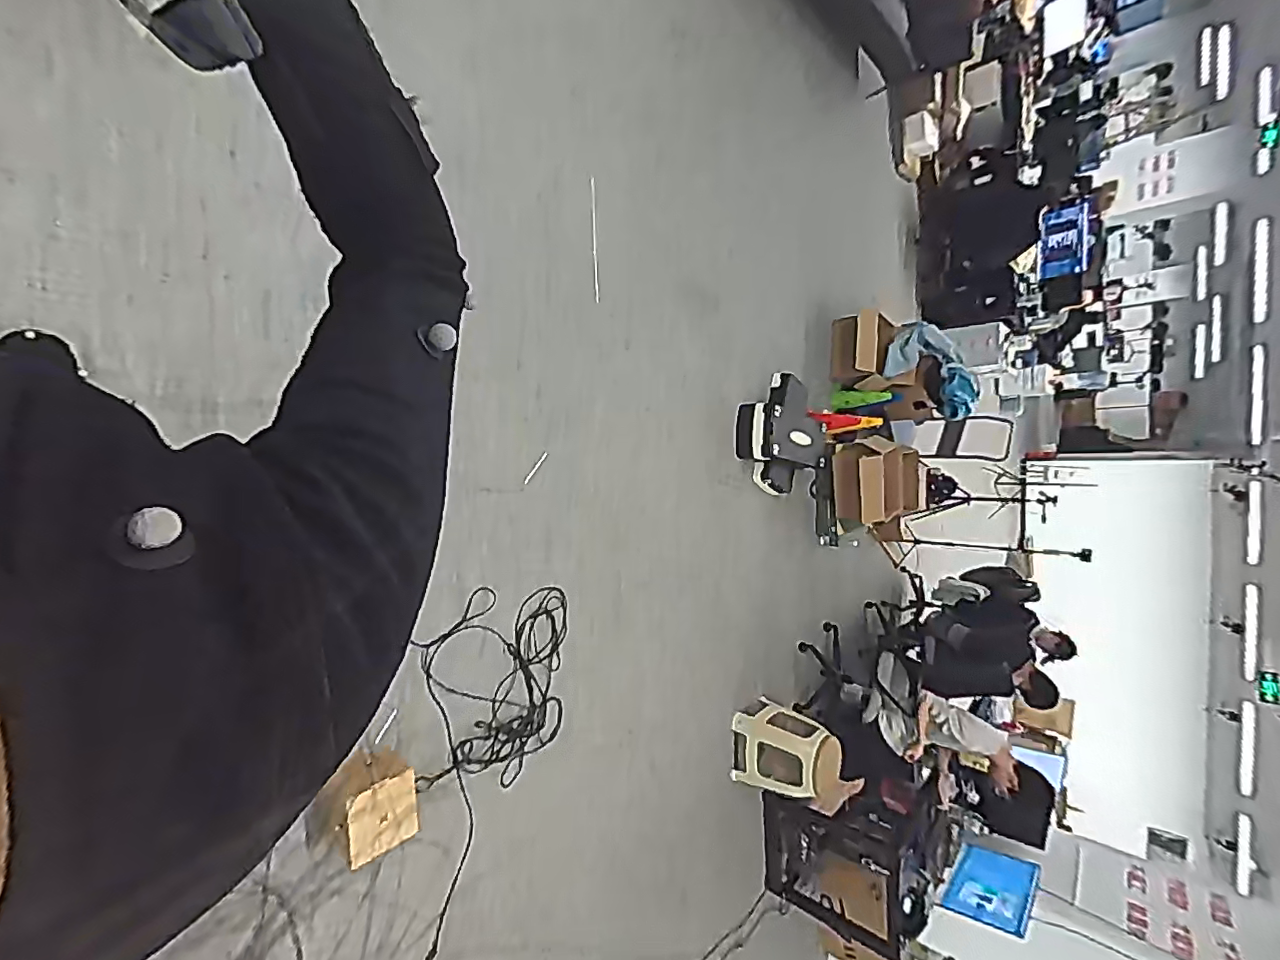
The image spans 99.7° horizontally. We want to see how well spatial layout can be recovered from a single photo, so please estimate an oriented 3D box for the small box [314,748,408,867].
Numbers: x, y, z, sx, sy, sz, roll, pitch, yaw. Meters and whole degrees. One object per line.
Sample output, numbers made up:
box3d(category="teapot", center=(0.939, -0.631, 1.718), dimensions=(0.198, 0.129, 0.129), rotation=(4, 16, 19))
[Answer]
box3d(category="small box", center=(-0.714, 0.825, 1.383), dimensions=(0.168, 0.176, 0.179), rotation=(-6, 95, -49))
